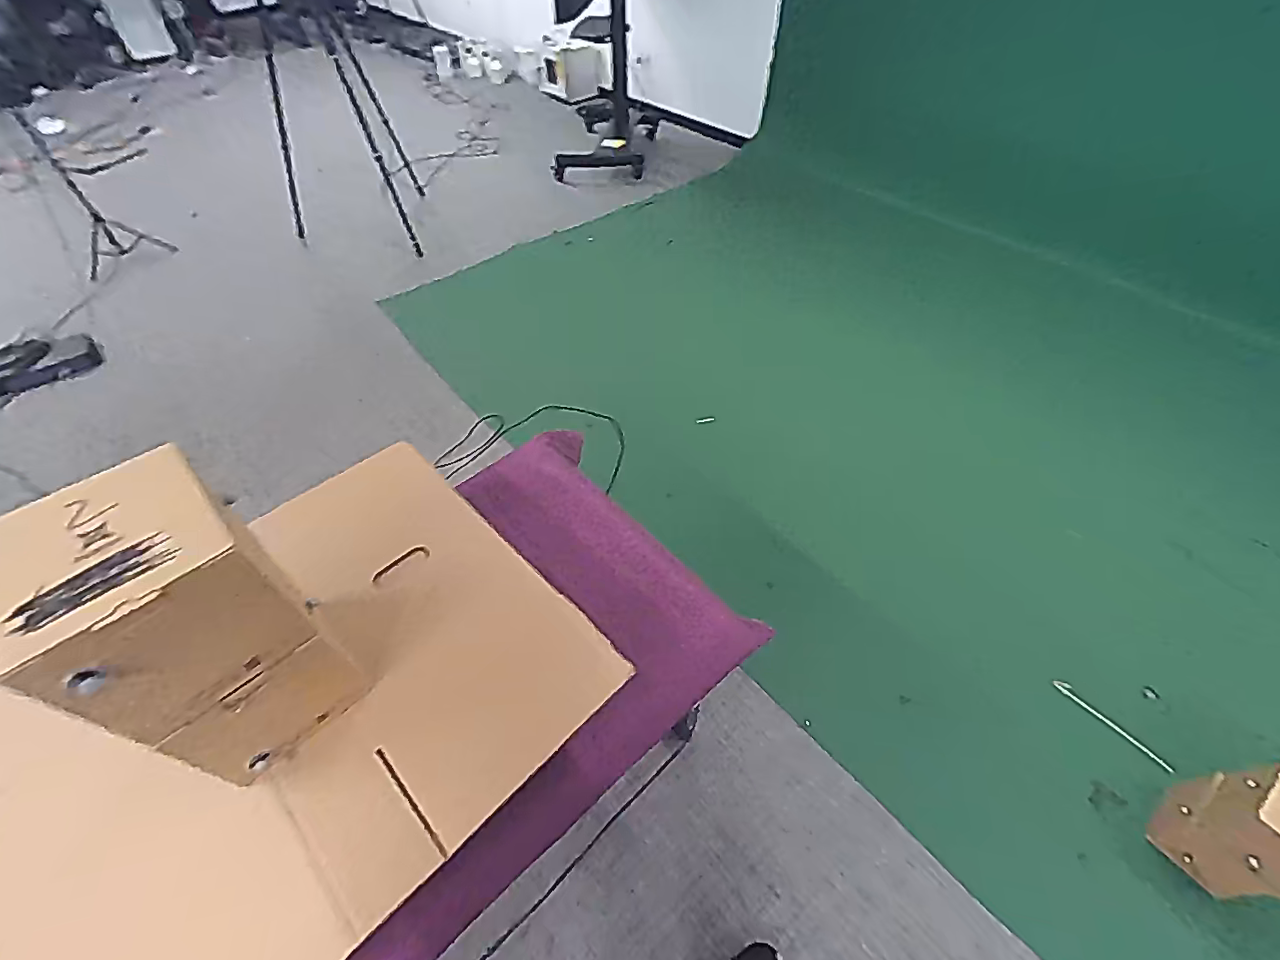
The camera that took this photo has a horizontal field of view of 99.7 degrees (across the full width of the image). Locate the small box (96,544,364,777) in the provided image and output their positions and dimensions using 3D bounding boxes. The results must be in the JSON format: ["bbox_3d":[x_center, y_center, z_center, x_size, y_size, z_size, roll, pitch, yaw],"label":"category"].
[{"bbox_3d":[-0.462,0.216,0.634,0.179,0.176,0.168,37,57,26],"label":"small box"}]

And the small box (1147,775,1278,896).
[{"bbox_3d":[1.376,0.845,1.287,0.179,0.176,0.168,-33,58,-23],"label":"small box"}]

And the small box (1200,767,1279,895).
[{"bbox_3d":[1.374,0.746,1.155,0.179,0.176,0.168,-31,57,-22],"label":"small box"}]
